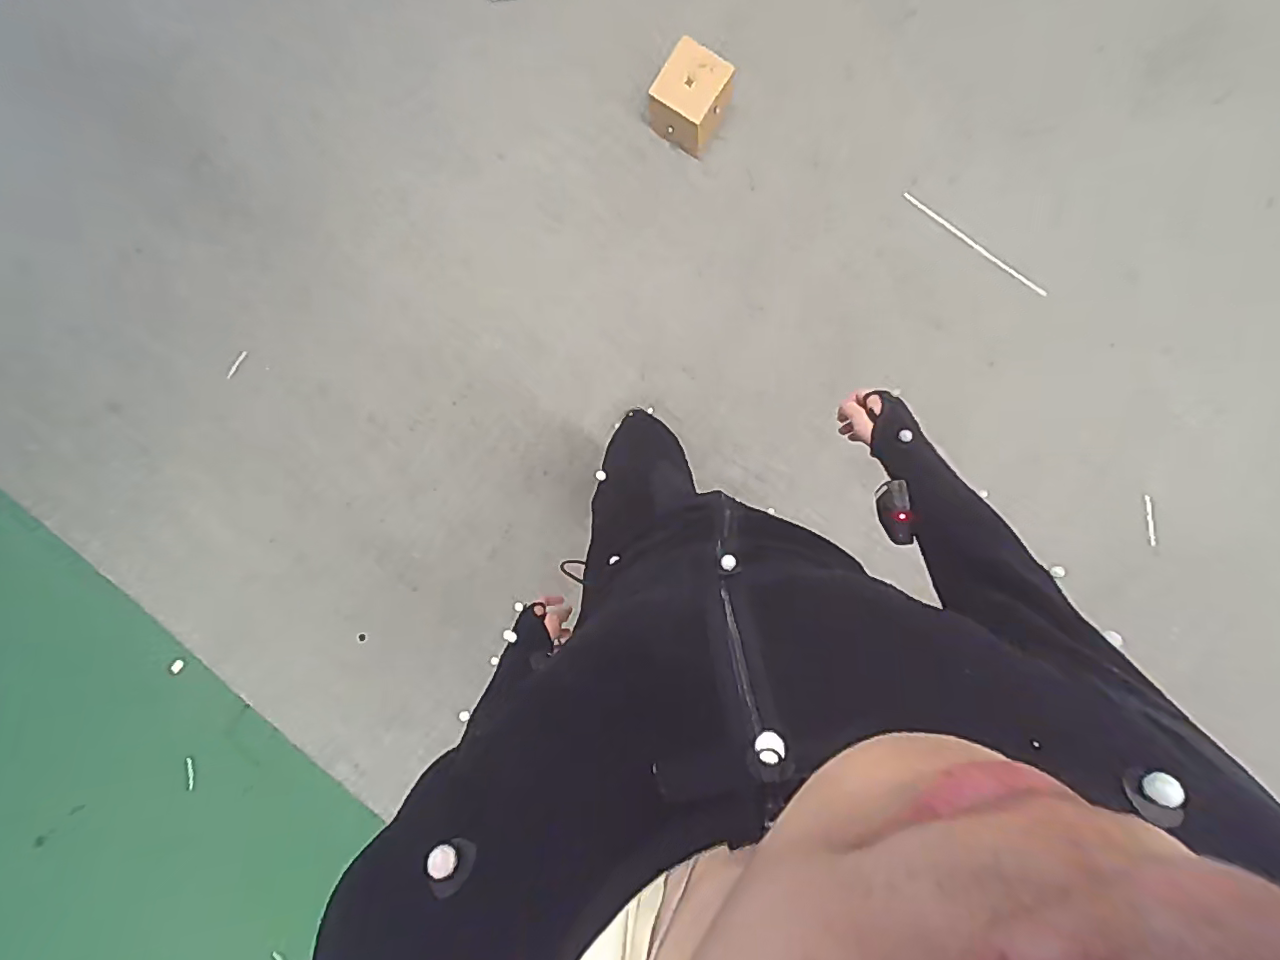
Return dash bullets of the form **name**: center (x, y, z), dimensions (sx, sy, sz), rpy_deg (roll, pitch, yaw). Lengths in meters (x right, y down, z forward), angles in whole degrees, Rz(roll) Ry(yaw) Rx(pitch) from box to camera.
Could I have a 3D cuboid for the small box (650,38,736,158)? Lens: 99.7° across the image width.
- **small box**: center (0.148, -1.045, 1.497), dimensions (0.168, 0.176, 0.179), rpy_deg (35, 95, 3)
